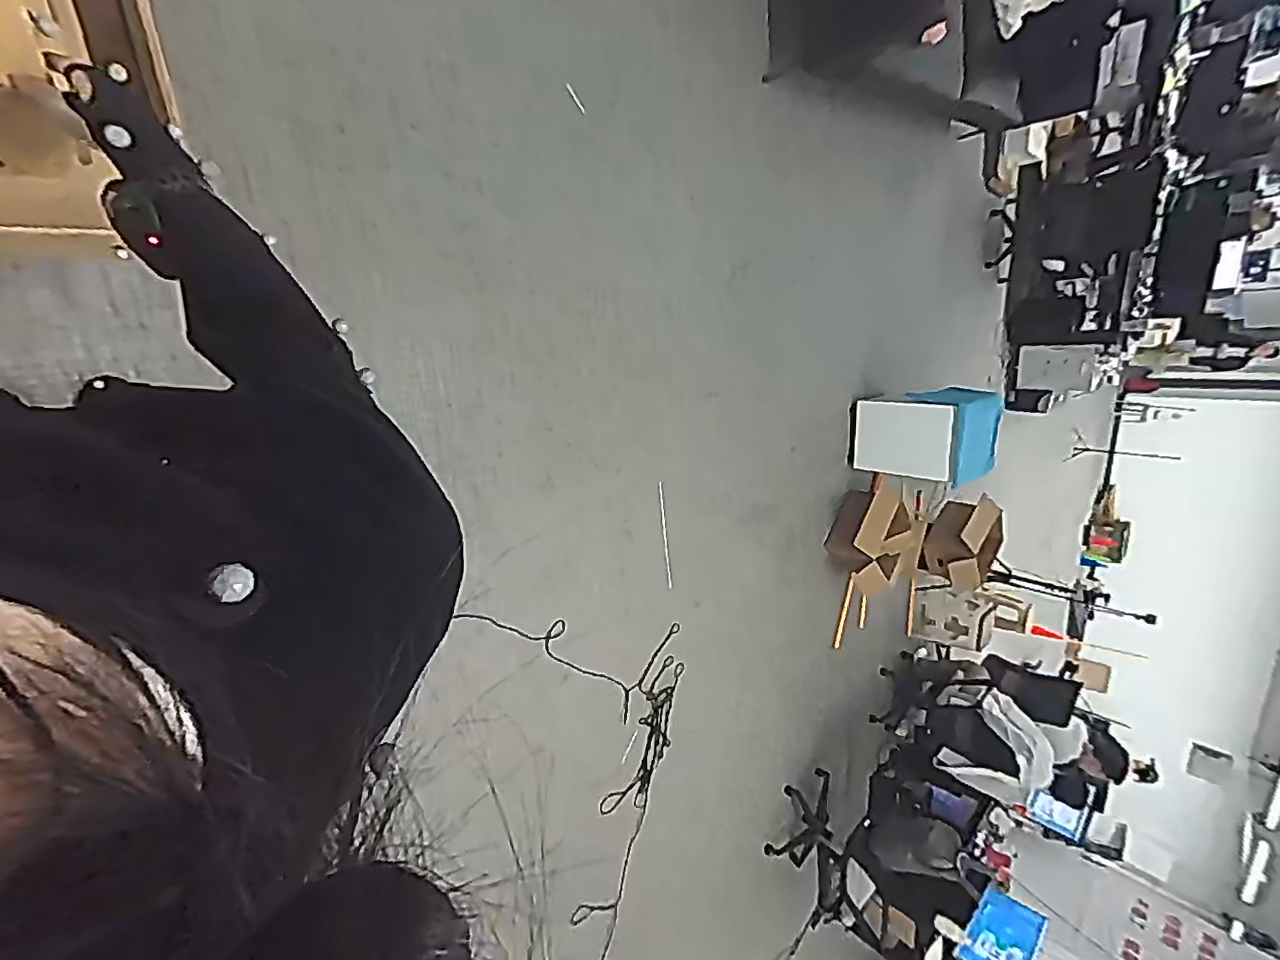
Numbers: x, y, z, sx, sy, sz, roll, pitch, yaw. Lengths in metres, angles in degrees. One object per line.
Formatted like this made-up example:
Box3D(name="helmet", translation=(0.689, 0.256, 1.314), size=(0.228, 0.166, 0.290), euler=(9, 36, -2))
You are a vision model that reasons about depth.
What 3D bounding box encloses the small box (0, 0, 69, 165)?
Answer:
Box3D(name="small box", translation=(-0.621, -0.398, 0.447), size=(0.168, 0.176, 0.179), euler=(-18, 102, -40))
